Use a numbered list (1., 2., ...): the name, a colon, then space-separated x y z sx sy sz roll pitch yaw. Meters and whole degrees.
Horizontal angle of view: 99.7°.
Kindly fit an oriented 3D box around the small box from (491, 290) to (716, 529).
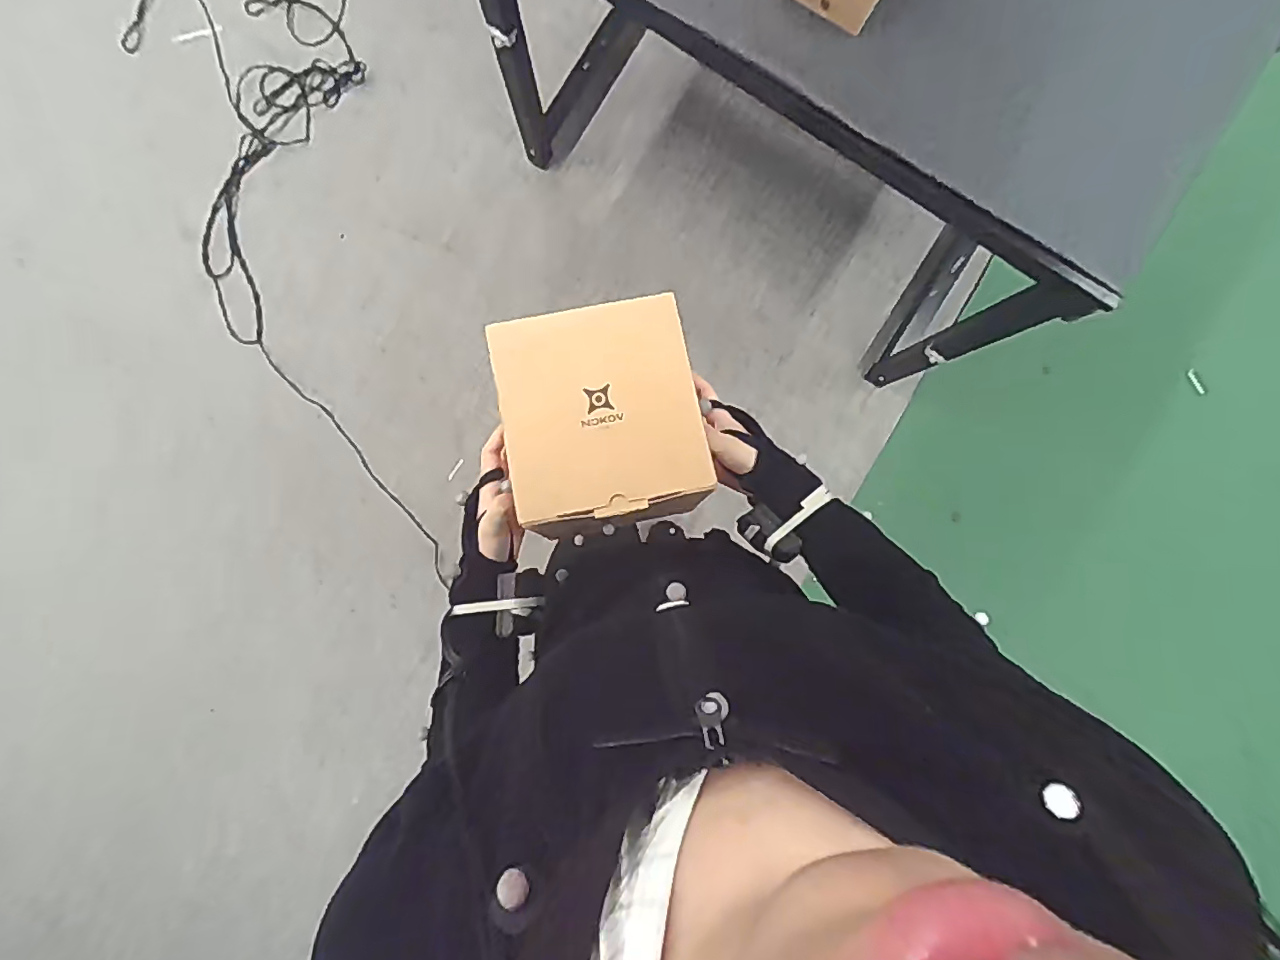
1. small box: -0.037 -0.056 0.531 0.168 0.176 0.179 -11 82 -4

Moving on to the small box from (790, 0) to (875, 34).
1. small box: 0.285 -0.760 0.709 0.168 0.176 0.179 31 88 -1
